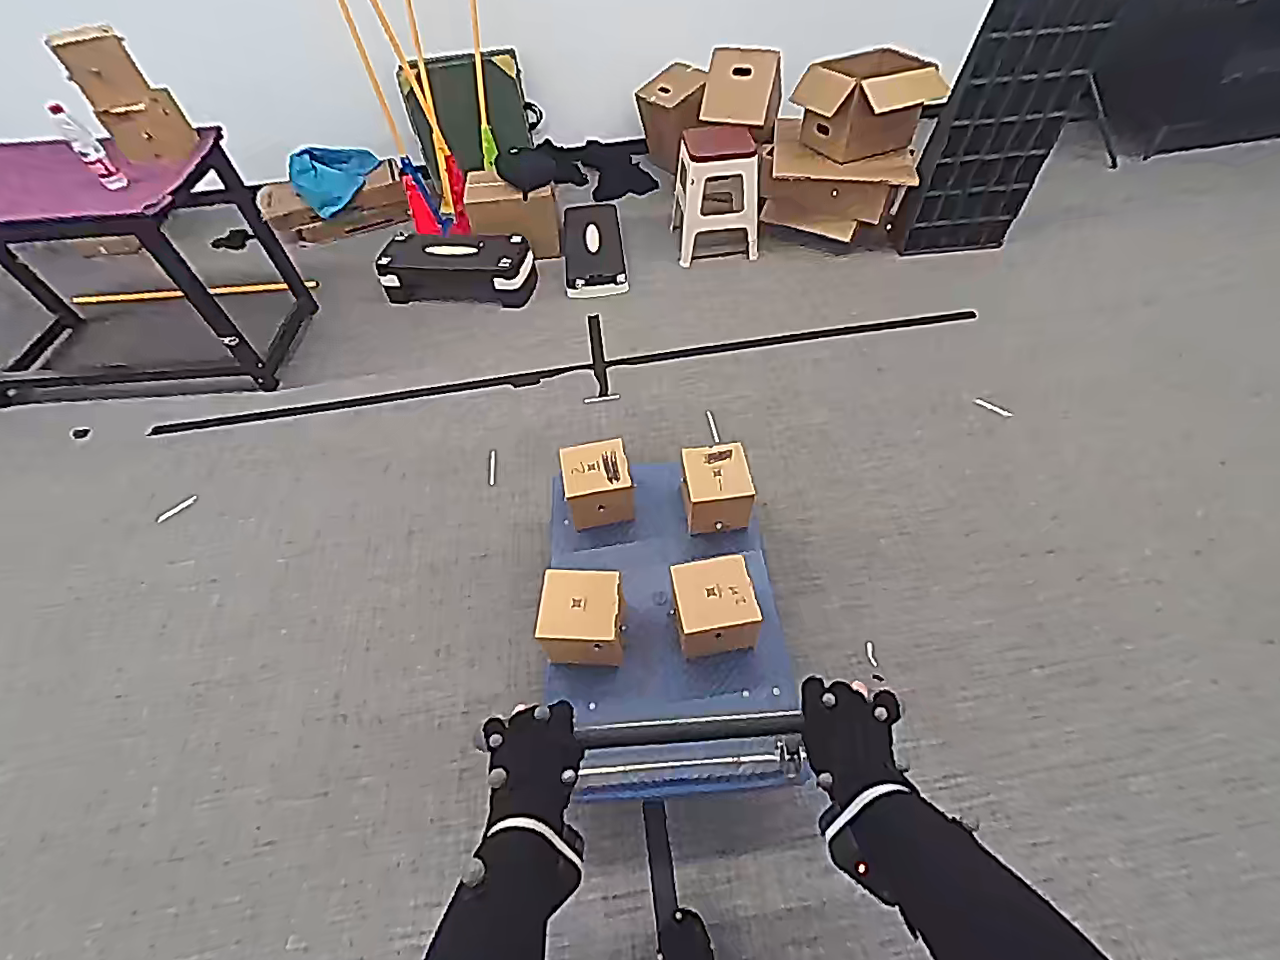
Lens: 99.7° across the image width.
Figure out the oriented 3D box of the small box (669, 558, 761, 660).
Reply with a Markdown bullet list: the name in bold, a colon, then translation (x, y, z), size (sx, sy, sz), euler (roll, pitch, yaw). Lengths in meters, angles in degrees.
- **small box**: translation (0.168, 0.305, 1.261), size (0.179, 0.176, 0.168), euler (-9, 54, -3)

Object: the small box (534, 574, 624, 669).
- **small box**: translation (-0.135, 0.332, 1.261), size (0.179, 0.176, 0.168), euler (1, 53, 3)

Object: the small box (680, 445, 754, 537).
- **small box**: translation (0.200, 0.031, 1.460), size (0.168, 0.176, 0.179), euler (-7, 55, -1)
